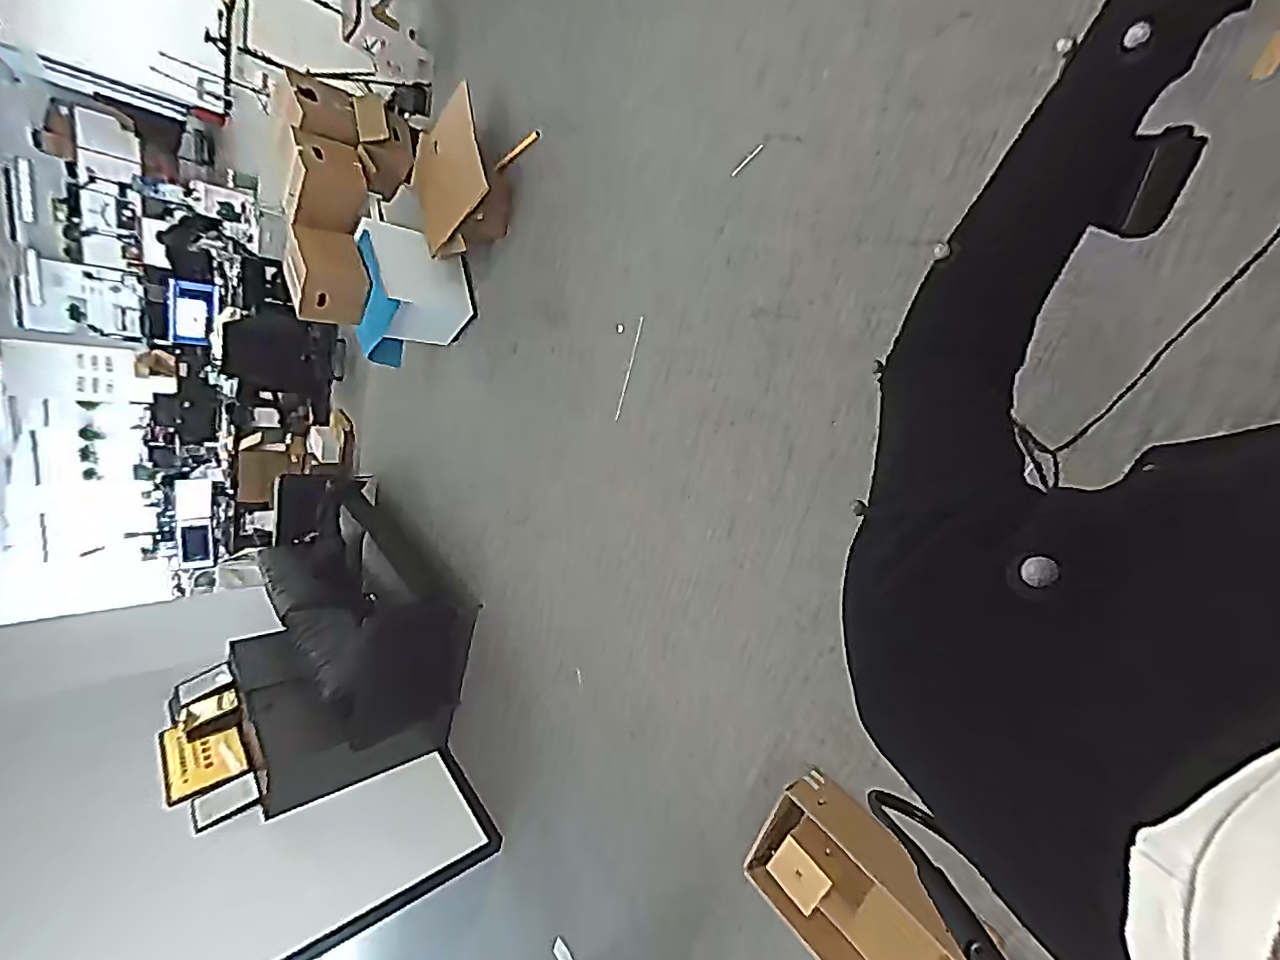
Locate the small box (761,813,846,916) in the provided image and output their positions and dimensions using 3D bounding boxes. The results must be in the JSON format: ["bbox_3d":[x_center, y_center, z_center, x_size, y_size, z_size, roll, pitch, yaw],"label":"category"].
[{"bbox_3d":[0.524,1.206,1.712,0.168,0.176,0.179,38,118,37],"label":"small box"}]
